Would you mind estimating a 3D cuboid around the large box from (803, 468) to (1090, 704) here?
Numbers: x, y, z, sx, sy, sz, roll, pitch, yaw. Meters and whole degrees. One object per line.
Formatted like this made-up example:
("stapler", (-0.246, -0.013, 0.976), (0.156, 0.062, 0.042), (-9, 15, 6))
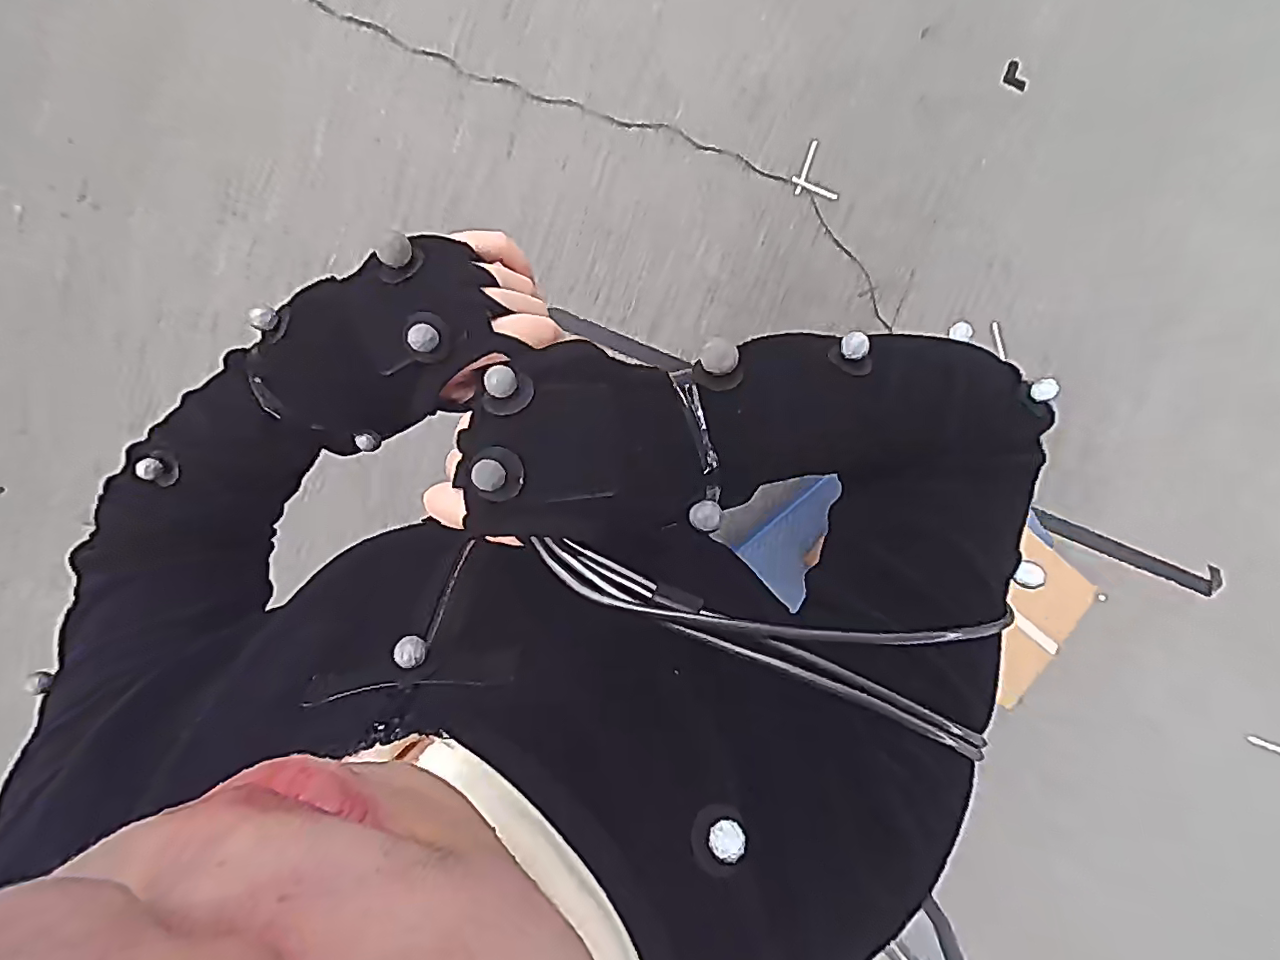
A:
("large box", (0.661, 0.211, 1.228), (0.408, 0.320, 0.320), (39, 90, -7))
